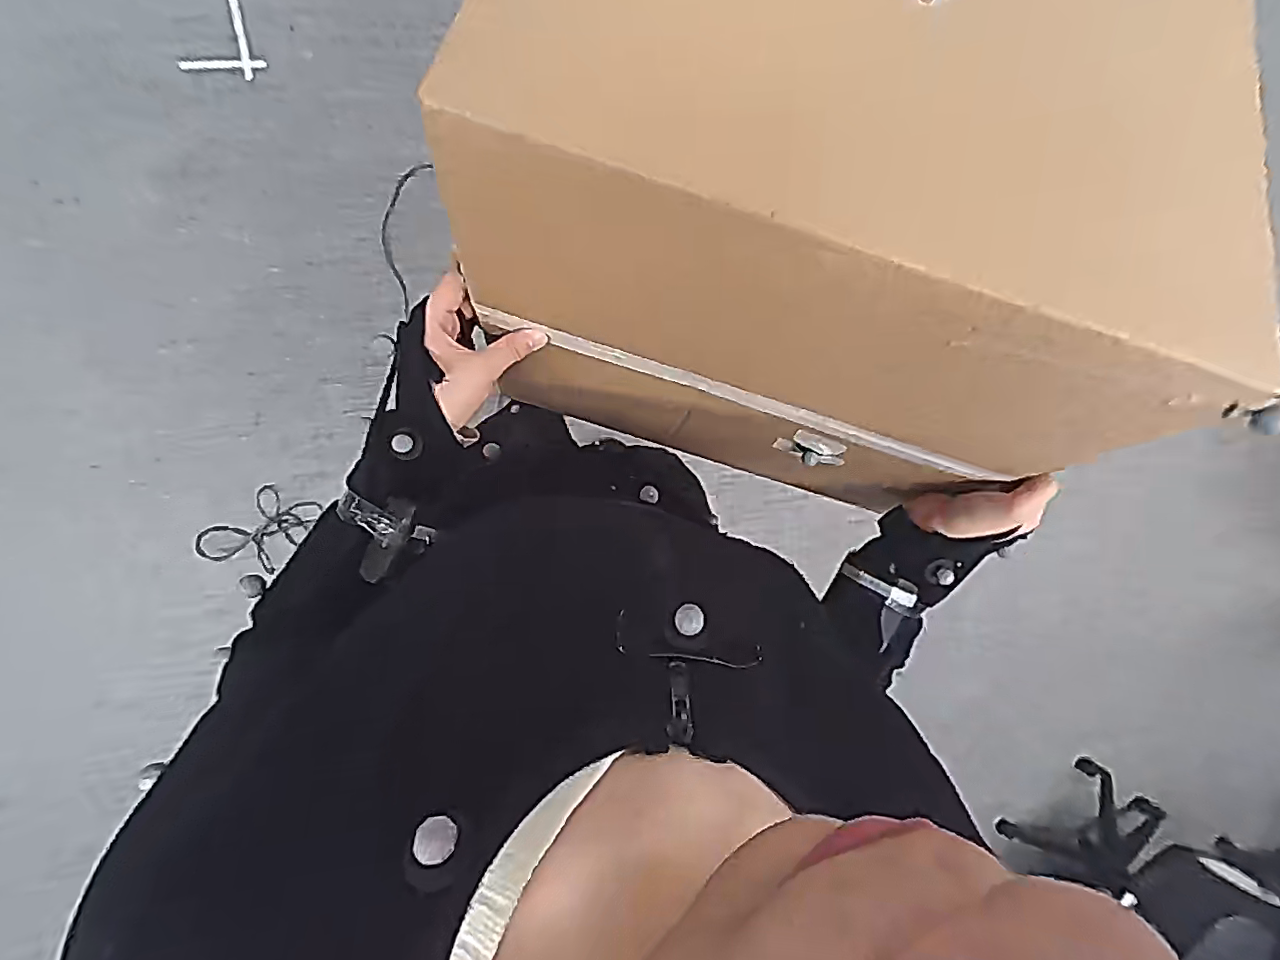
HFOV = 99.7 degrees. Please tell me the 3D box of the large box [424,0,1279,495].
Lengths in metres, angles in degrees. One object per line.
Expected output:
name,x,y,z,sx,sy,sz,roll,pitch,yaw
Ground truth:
large box,0.125,-0.215,0.393,0.408,0.320,0.320,15,75,-3
